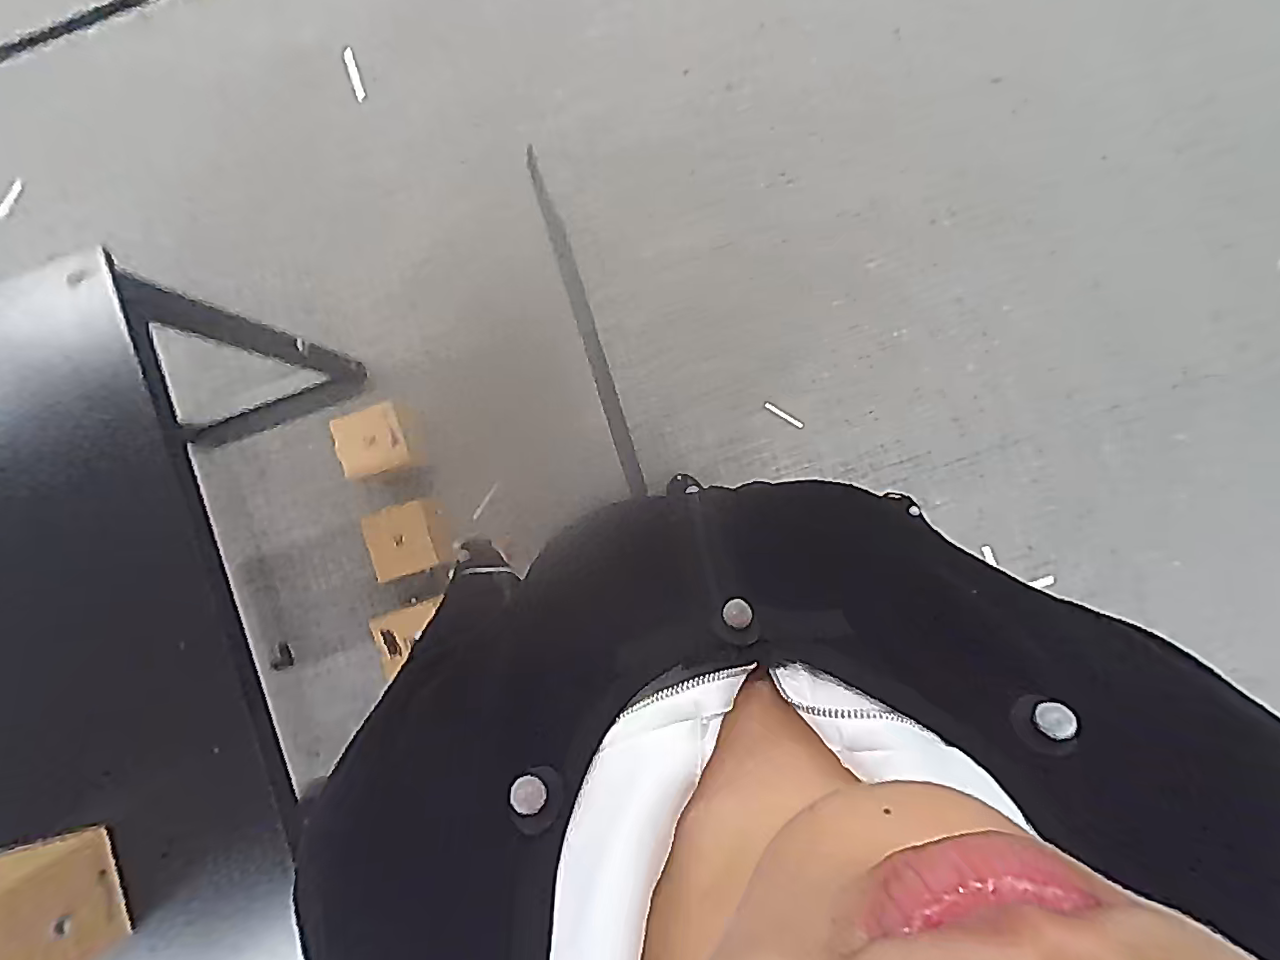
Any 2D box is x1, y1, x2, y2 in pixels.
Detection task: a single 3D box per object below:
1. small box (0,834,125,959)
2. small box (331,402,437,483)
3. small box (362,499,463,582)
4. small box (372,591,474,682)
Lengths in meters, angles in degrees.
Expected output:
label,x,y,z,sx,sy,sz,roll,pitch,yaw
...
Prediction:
label,x,y,z,sx,sy,sz,roll,pitch,yaw
small box,-0.860,0.623,0.735,0.179,0.176,0.168,-15,89,3
small box,-0.683,-0.095,1.457,0.179,0.176,0.168,-19,90,3
small box,-0.603,0.156,1.455,0.168,0.176,0.179,-19,90,3
small box,-0.574,0.412,1.451,0.179,0.176,0.168,-19,89,2
